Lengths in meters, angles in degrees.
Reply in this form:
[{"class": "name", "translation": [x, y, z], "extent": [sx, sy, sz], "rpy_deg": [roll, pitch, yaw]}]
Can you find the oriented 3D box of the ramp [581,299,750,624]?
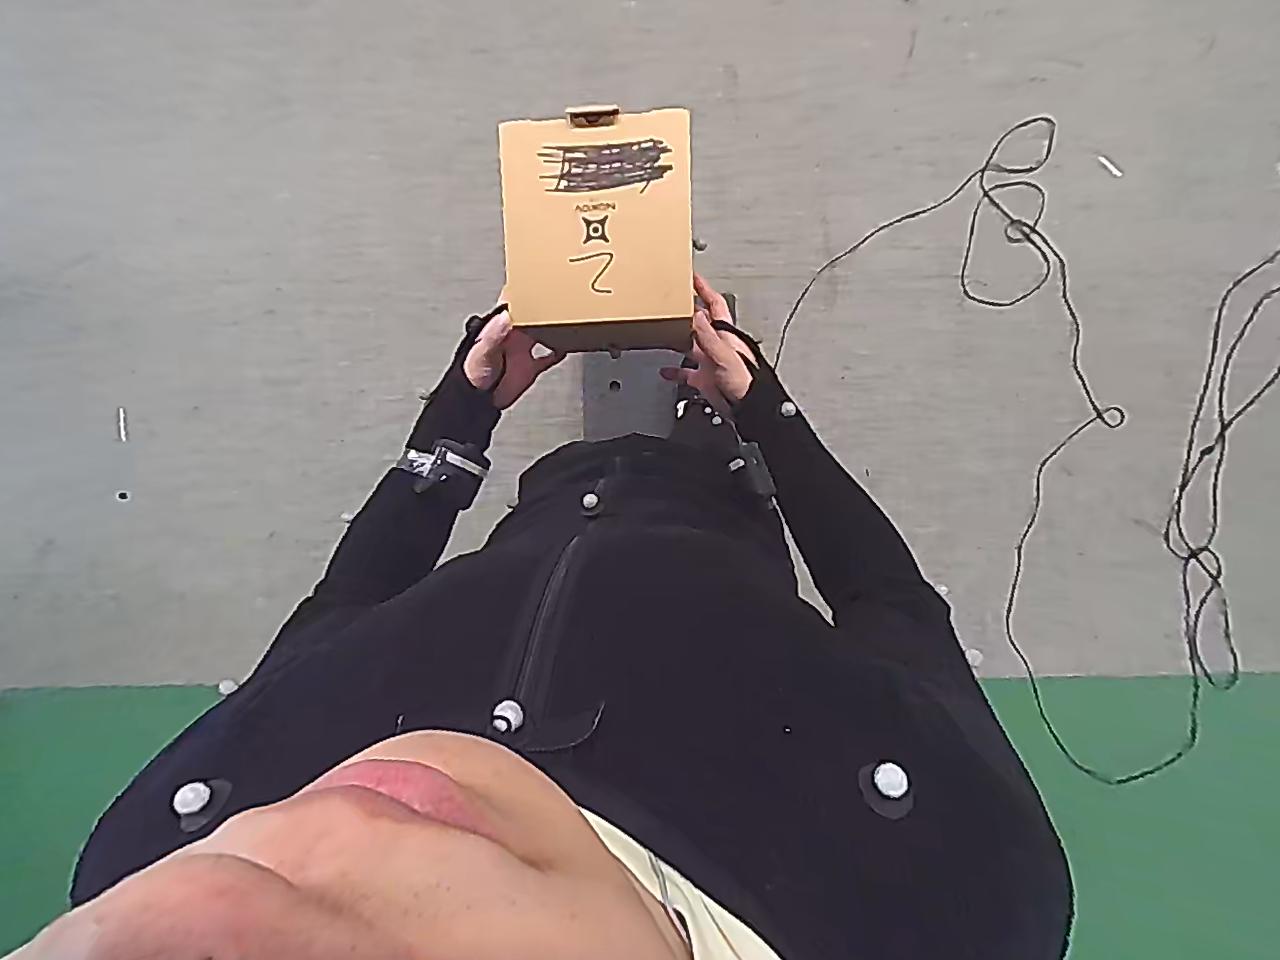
[{"class": "ramp", "translation": [0.069, -0.070, 1.661], "extent": [0.509, 0.206, 0.991], "rpy_deg": [-3, 94, 1]}]
